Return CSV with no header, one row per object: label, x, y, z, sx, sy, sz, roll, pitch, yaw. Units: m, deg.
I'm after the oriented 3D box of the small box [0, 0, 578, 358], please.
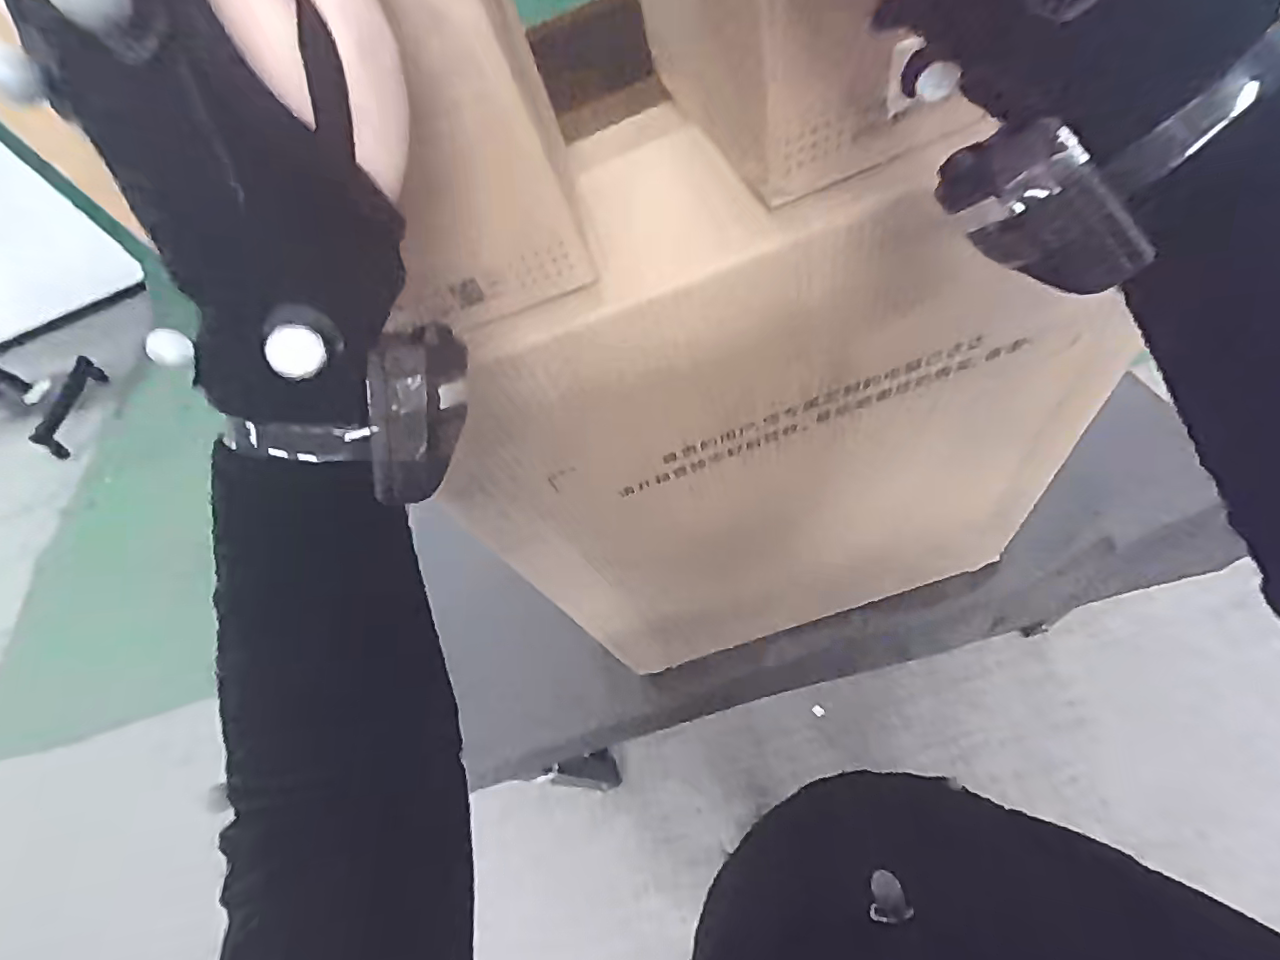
small box,-0.139,-0.183,0.265,0.168,0.176,0.179,-17,56,7
